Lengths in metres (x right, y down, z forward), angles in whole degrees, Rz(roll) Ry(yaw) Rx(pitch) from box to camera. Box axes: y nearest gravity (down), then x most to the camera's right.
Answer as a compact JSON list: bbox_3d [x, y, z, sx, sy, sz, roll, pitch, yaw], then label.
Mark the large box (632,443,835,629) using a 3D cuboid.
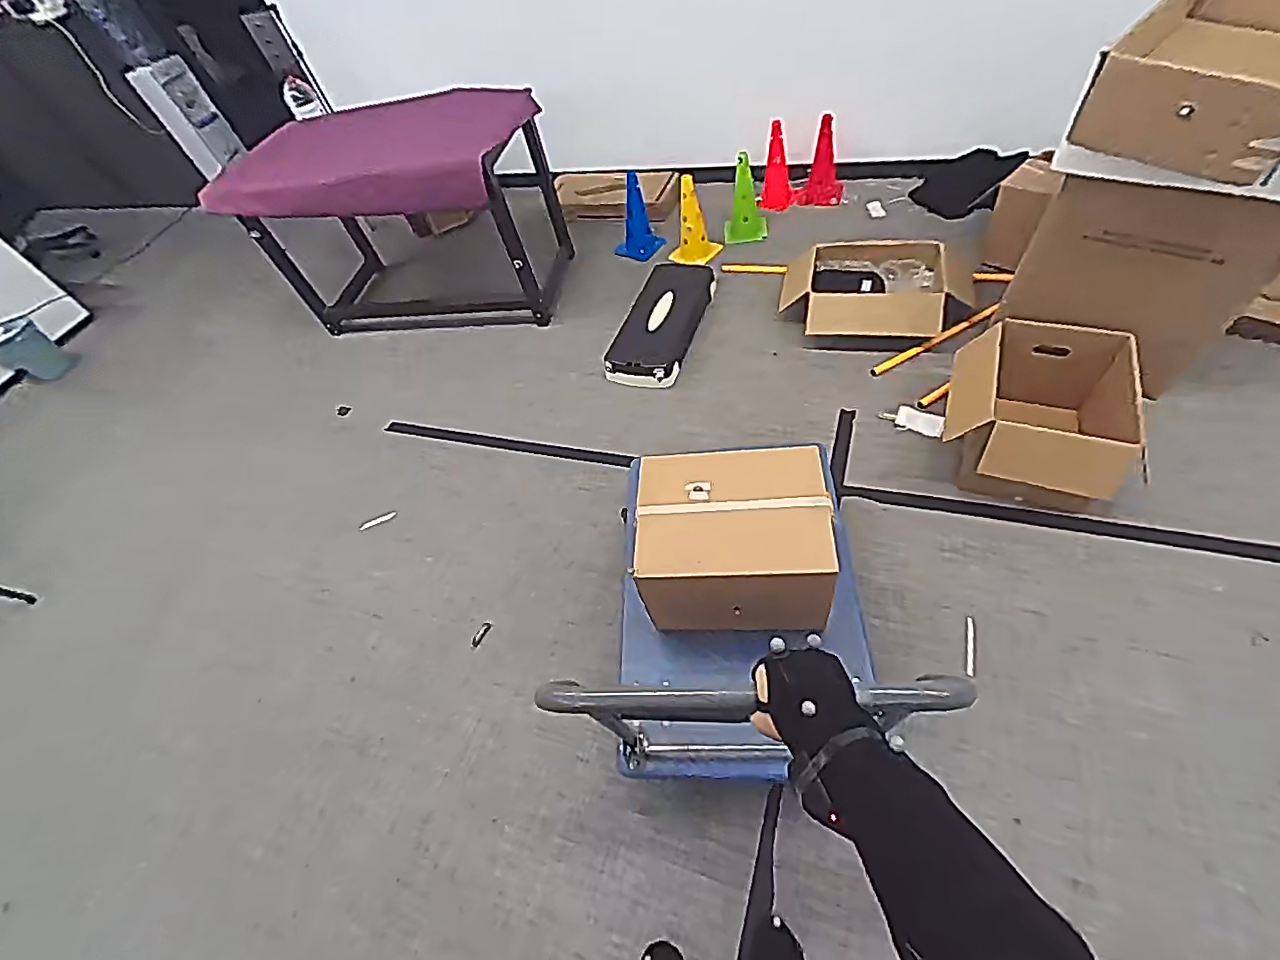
[{"bbox_3d":[0.214,0.145,1.263,0.408,0.320,0.320,-5,53,11],"label":"large box"}]
